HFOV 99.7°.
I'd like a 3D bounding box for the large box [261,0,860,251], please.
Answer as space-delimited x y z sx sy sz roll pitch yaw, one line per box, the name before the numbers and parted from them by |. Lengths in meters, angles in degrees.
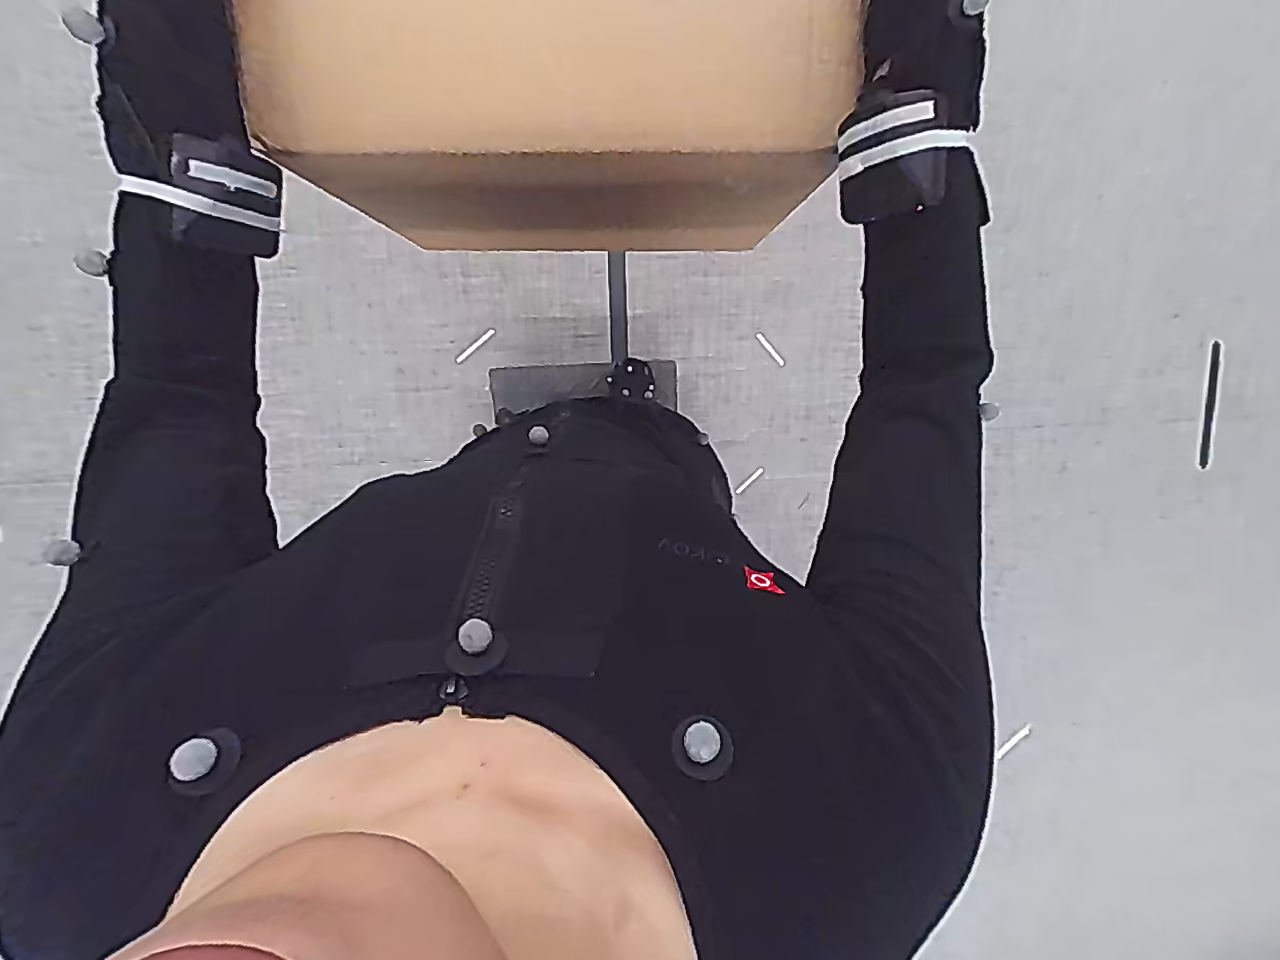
large box | -0.057 -0.409 0.492 0.408 0.320 0.320 -1 102 -1
